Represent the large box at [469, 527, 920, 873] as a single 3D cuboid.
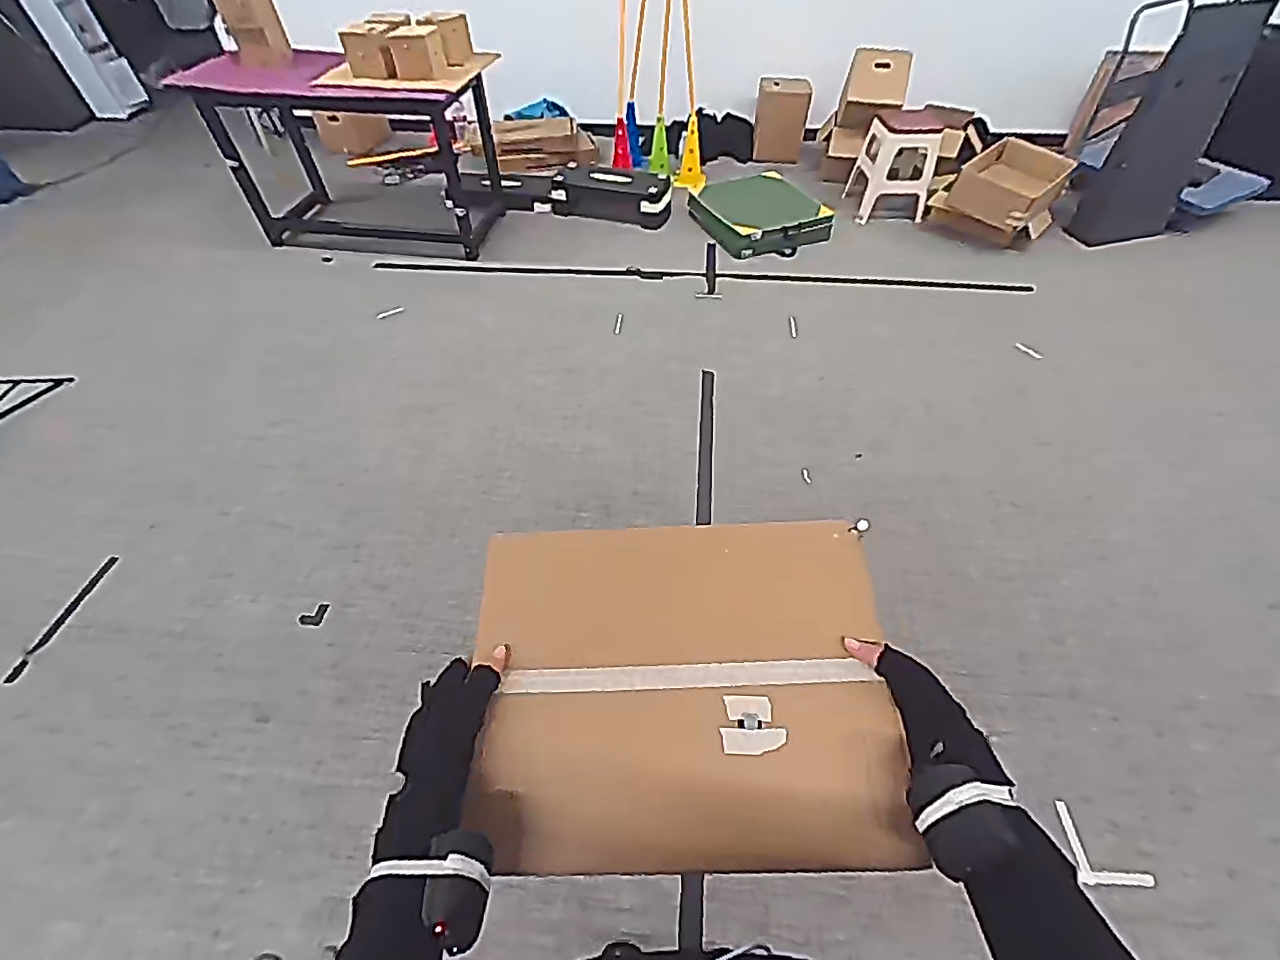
[{"bbox_3d":[0.047,0.268,0.669,0.408,0.320,0.320,-2,63,2],"label":"large box"}]
